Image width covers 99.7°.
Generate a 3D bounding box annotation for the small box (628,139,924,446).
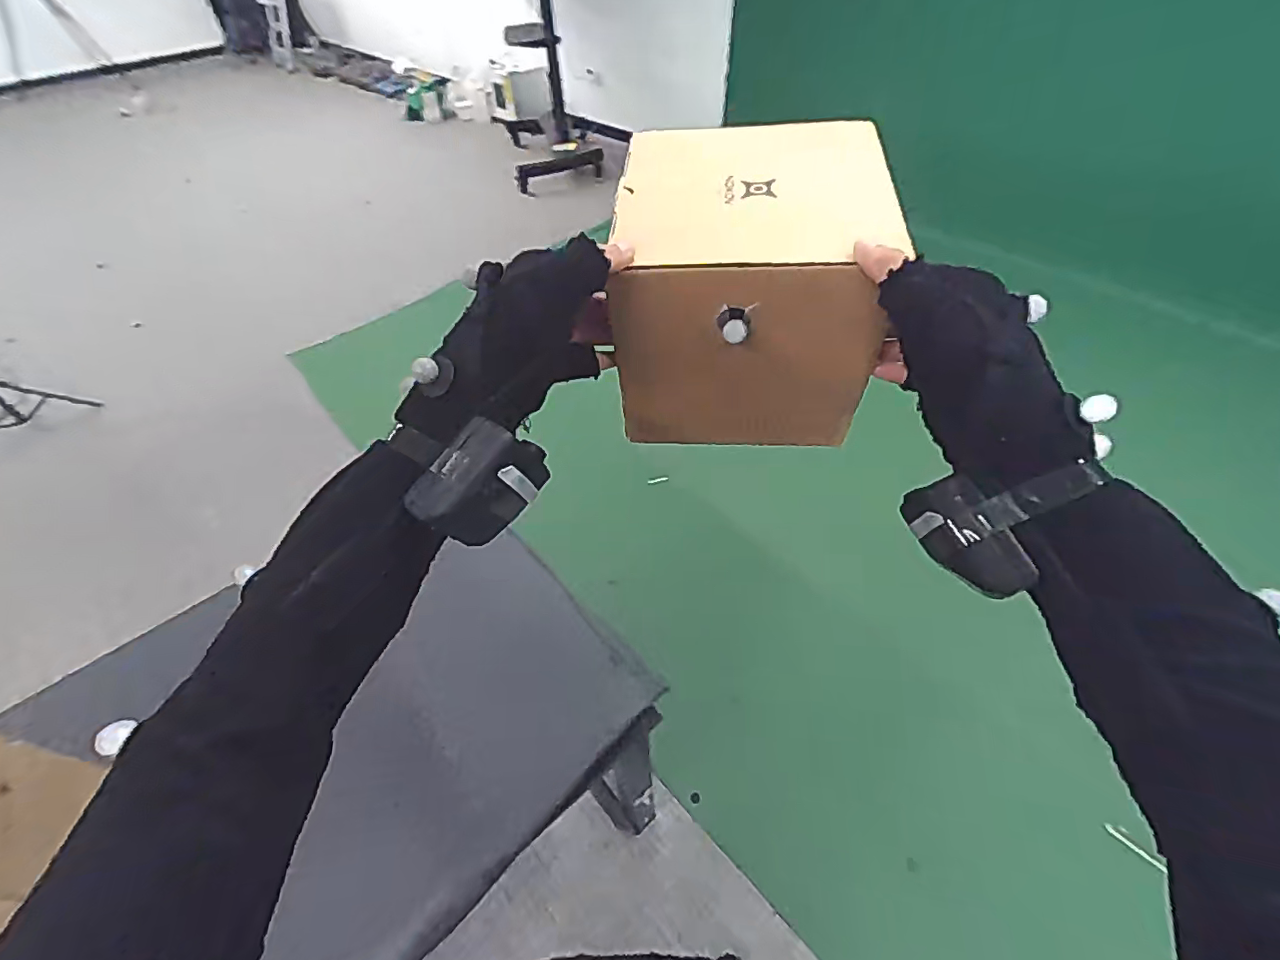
[{"bbox_3d":[0.092,-0.140,0.430,0.179,0.176,0.168,2,55,7],"label":"small box"}]
